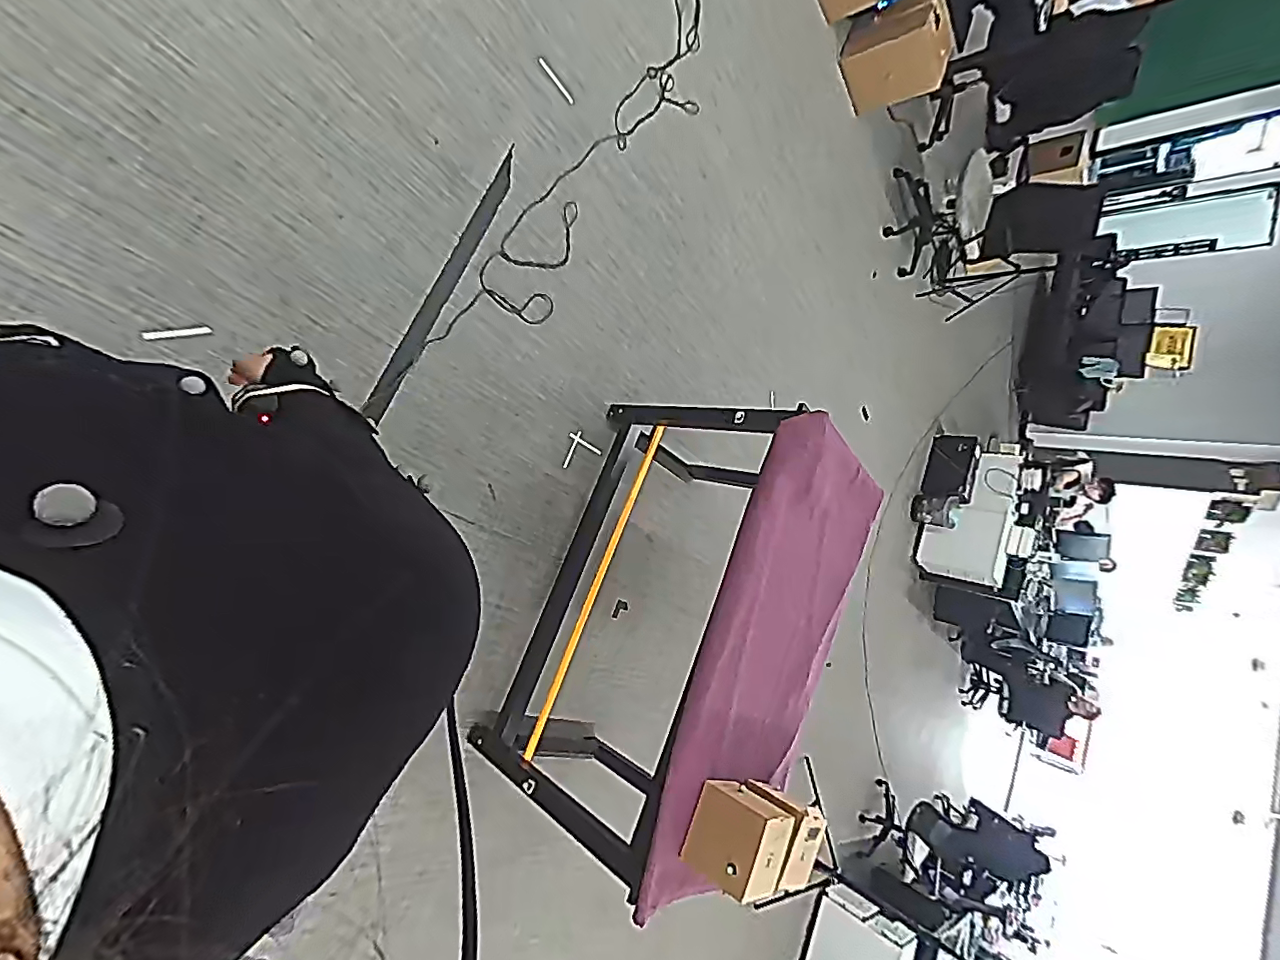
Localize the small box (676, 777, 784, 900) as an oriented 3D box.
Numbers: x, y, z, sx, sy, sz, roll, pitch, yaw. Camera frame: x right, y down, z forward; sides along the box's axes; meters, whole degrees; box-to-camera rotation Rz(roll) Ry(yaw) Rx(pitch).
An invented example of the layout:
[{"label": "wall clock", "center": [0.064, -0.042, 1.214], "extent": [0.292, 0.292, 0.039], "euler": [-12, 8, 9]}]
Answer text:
[{"label": "small box", "center": [0.207, 0.827, 1.260], "extent": [0.168, 0.176, 0.179], "euler": [38, 69, -46]}]

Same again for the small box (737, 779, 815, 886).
[{"label": "small box", "center": [0.324, 0.908, 1.401], "extent": [0.168, 0.176, 0.179], "euler": [42, 68, -41]}]
